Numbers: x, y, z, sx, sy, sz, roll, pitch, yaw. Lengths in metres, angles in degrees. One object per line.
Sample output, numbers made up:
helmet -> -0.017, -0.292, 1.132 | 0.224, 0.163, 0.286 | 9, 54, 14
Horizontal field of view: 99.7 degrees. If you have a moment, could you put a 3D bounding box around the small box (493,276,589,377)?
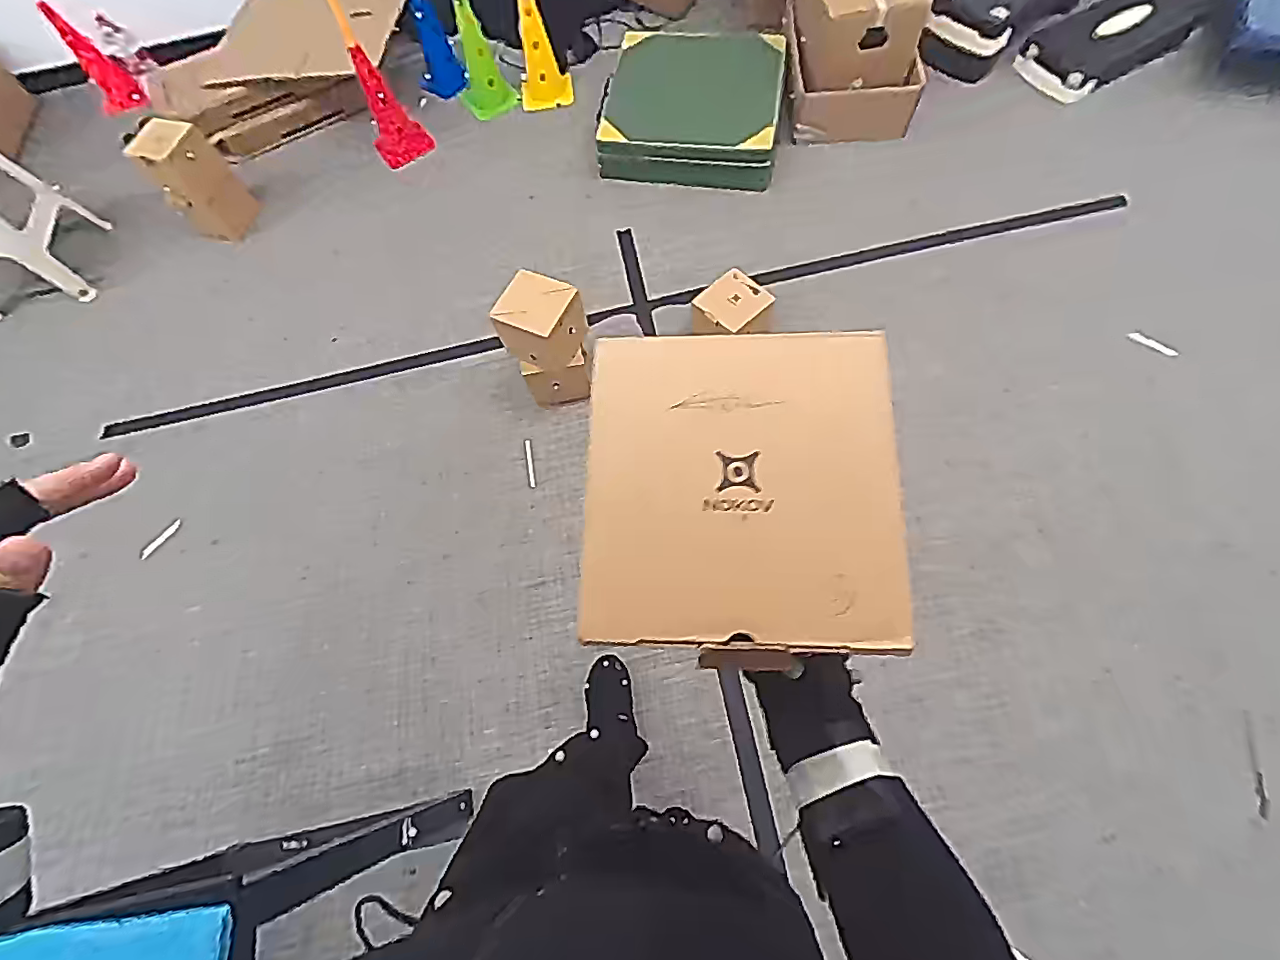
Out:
small box -> -0.260, -0.409, 1.438 | 0.179, 0.176, 0.168 | 22, 71, 14

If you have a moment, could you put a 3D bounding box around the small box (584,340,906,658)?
small box -> 0.065, 0.023, 0.373 | 0.168, 0.176, 0.179 | 2, 73, 6

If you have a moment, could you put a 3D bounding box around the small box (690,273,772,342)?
small box -> 0.264, -0.465, 1.601 | 0.179, 0.176, 0.168 | -40, 72, -11

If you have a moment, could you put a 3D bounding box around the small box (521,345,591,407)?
small box -> -0.245, -0.334, 1.588 | 0.179, 0.176, 0.168 | -11, 67, 1
